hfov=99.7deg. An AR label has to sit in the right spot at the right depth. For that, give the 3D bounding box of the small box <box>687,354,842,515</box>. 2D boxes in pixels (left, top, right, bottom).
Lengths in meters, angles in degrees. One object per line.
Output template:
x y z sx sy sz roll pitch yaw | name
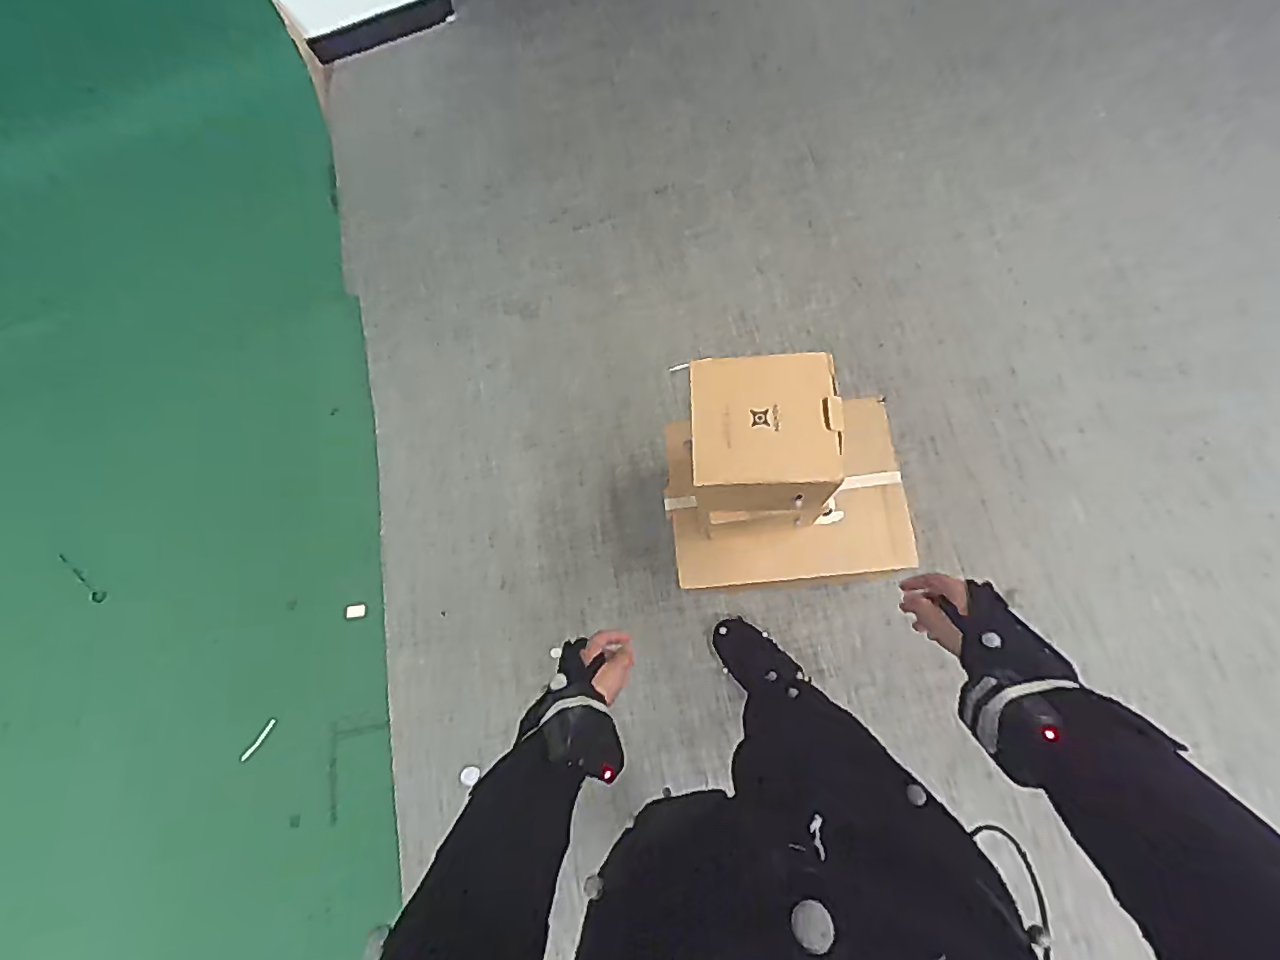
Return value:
0.157 -0.051 0.725 0.179 0.176 0.168 -3 74 9 | small box

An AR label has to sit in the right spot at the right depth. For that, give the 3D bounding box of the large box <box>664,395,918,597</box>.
0.276 0.056 1.104 0.408 0.320 0.320 -7 76 6 | large box
